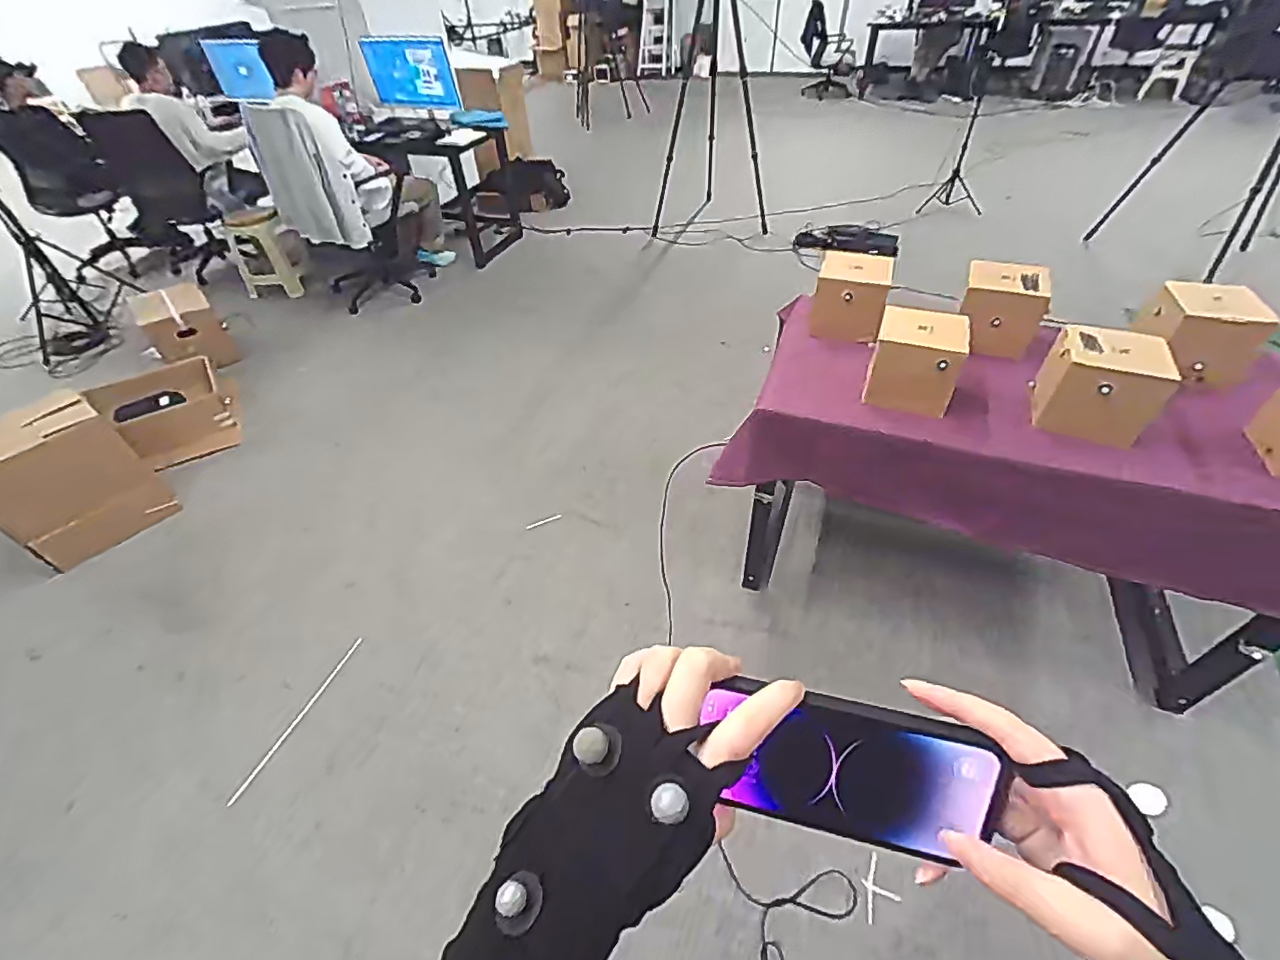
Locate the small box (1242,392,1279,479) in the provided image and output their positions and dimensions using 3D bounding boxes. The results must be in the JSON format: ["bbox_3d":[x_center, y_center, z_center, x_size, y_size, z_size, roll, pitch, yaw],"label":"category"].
[{"bbox_3d":[1.304,-0.095,1.000,0.179,0.176,0.168,13,46,17],"label":"small box"}]

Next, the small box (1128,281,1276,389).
[{"bbox_3d":[1.268,-0.335,1.247,0.168,0.176,0.179,11,47,16],"label":"small box"}]

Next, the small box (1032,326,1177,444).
[{"bbox_3d":[0.950,-0.197,1.130,0.179,0.176,0.168,17,48,19],"label":"small box"}]

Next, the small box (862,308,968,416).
[{"bbox_3d":[0.617,-0.267,1.225,0.179,0.176,0.168,16,47,17],"label":"small box"}]
